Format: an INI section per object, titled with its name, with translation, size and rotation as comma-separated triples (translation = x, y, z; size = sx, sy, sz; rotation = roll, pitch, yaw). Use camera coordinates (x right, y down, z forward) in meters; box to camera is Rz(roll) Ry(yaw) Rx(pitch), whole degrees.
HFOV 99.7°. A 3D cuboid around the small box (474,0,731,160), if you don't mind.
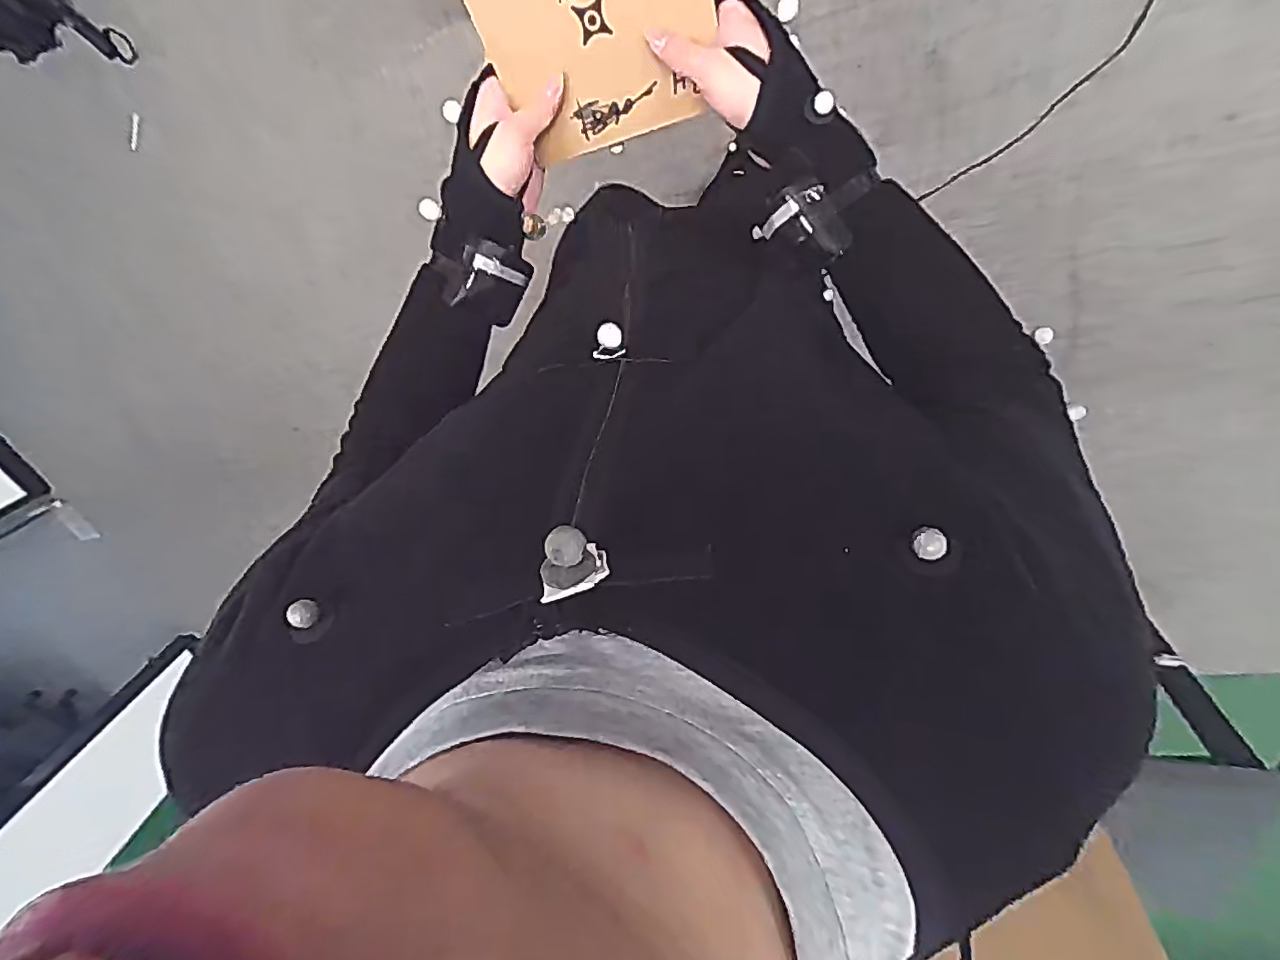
[small box]
translation = -0.026, -0.395, 0.424
size = 0.168, 0.176, 0.179
rotation = -7, 140, 17
